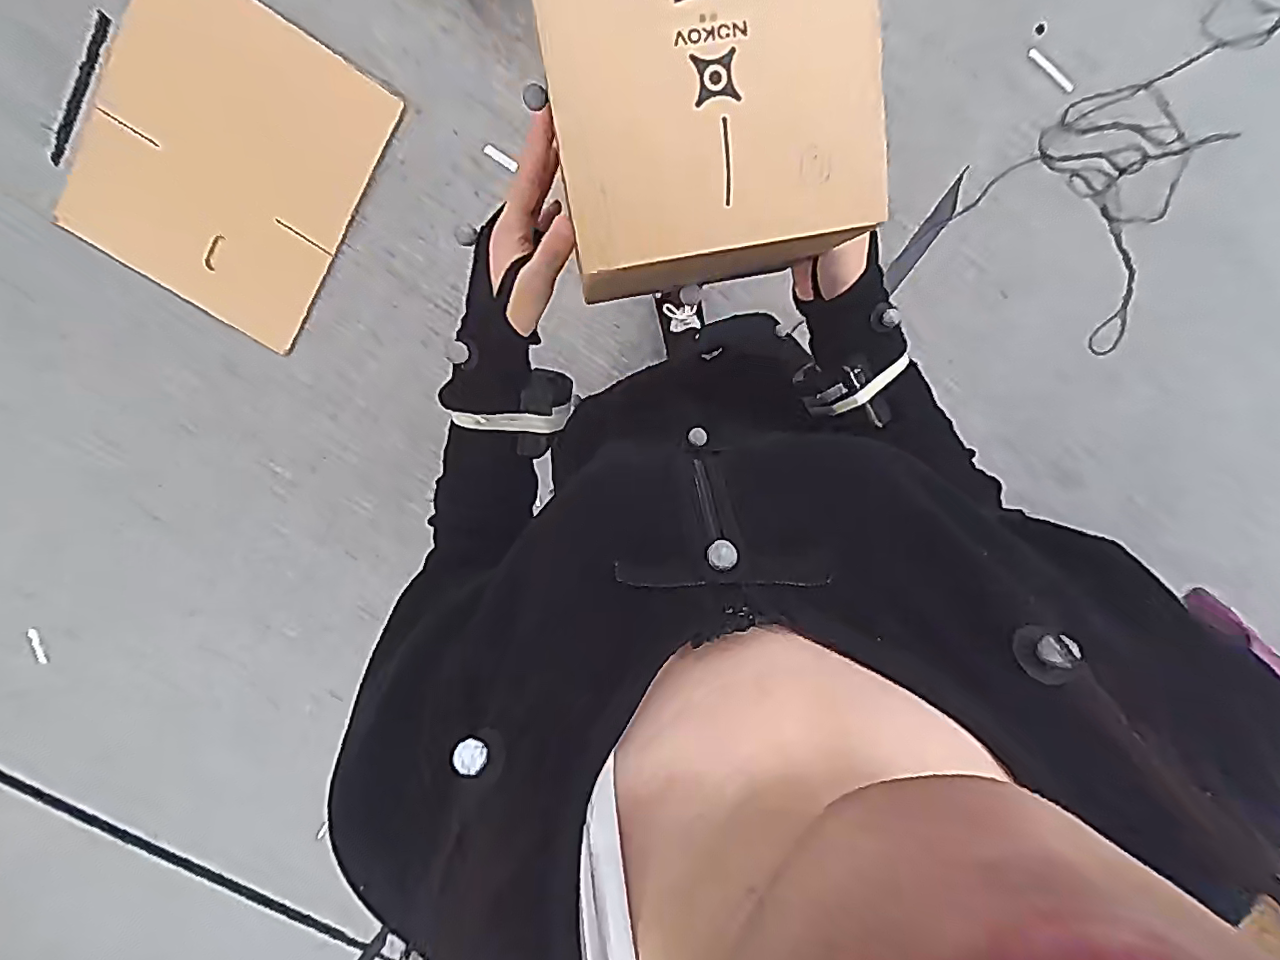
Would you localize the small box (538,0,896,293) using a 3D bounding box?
[{"bbox_3d":[0.032,-0.226,0.334,0.168,0.176,0.179,-10,104,-2],"label":"small box"}]
